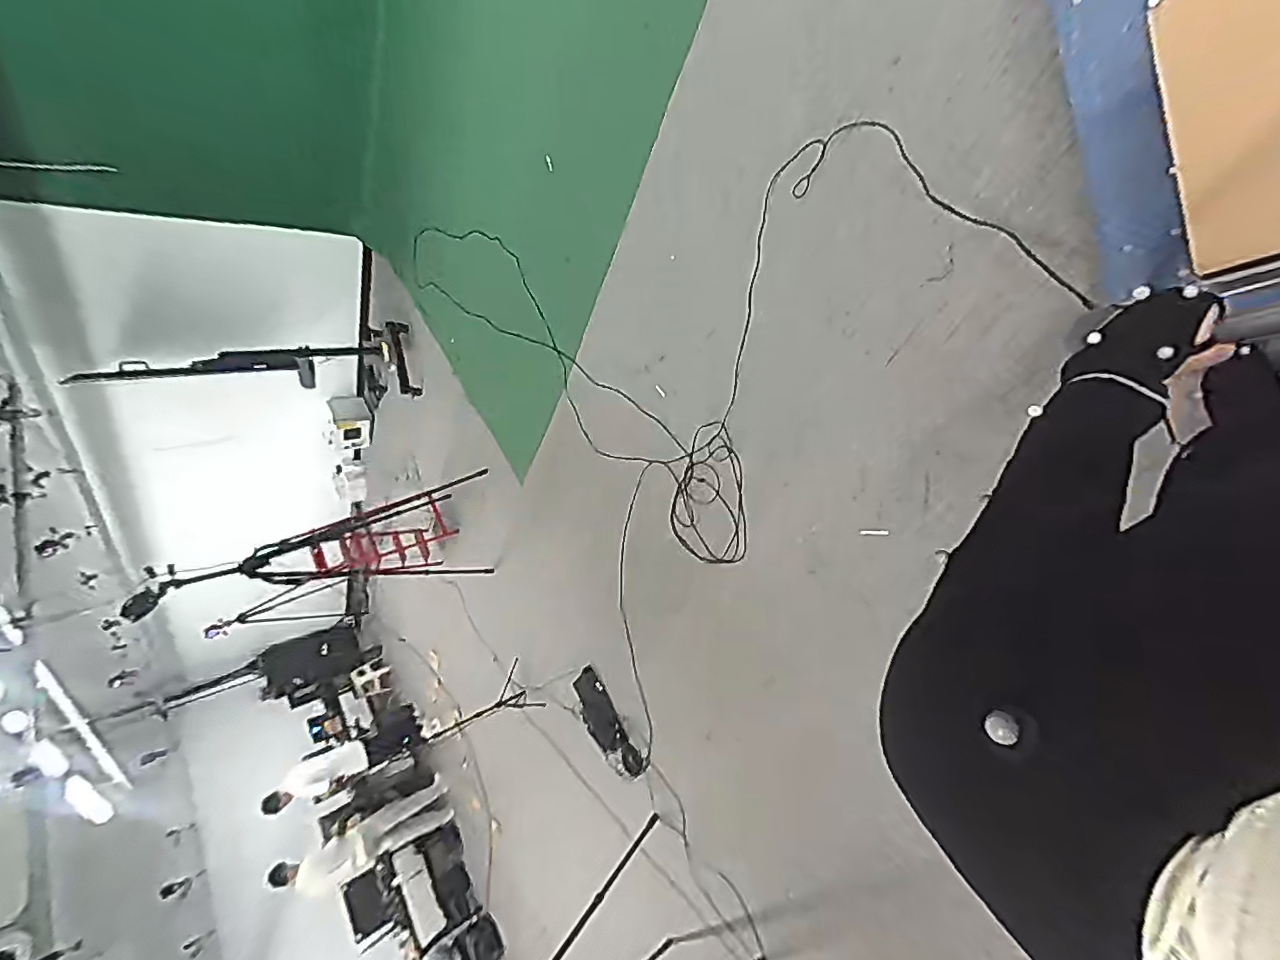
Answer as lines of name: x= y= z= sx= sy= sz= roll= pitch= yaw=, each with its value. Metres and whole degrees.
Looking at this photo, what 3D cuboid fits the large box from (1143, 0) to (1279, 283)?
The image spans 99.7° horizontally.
large box: x=1.016 y=-0.552 z=0.800 sx=0.320 sy=0.320 sz=0.408 roll=-10 pitch=92 yaw=51
